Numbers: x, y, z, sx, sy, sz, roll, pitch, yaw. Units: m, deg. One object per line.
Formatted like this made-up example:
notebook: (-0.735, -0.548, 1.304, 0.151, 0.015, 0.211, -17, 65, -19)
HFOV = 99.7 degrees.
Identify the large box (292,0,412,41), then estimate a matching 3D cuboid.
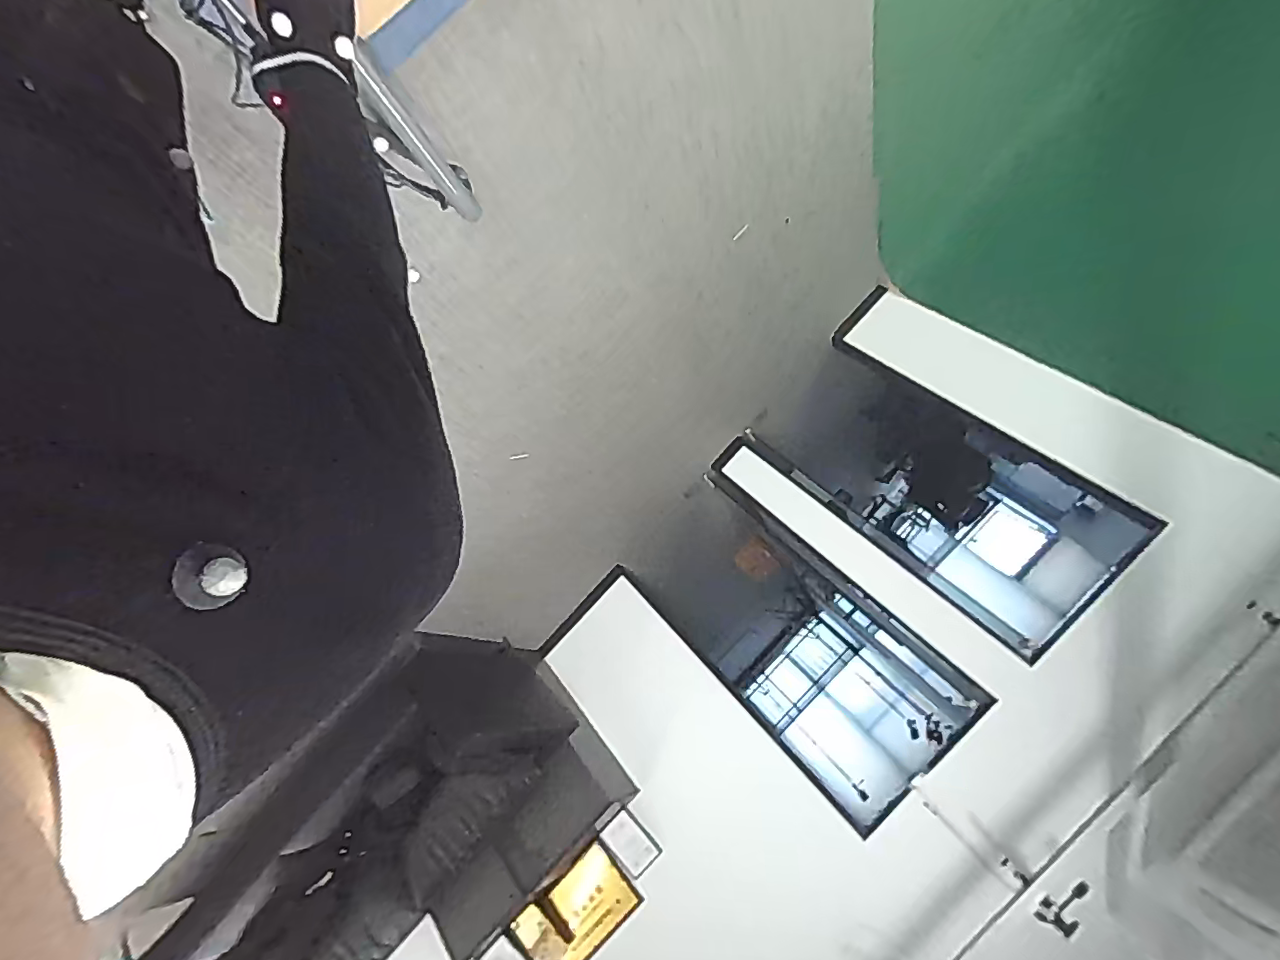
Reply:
large box: (-0.444, -0.972, 0.805, 0.408, 0.320, 0.320, -45, 151, -4)
